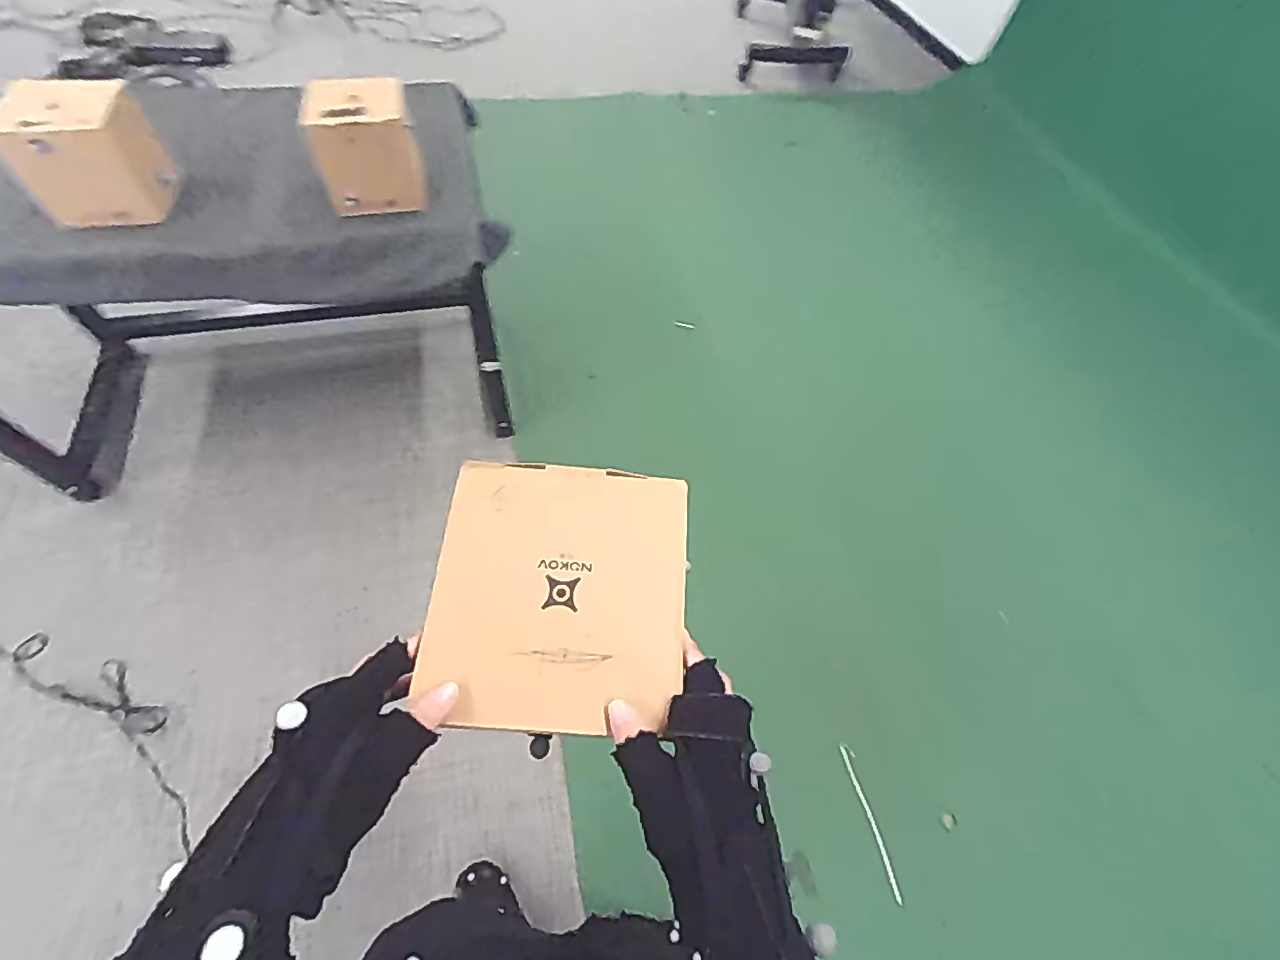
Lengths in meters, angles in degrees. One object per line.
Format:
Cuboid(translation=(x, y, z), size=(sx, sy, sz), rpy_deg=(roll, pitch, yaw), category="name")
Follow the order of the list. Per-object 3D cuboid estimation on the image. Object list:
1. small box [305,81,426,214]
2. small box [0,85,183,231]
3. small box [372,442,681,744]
Cuboid(translation=(-0.521, -0.638, 1.049), size=(0.168, 0.176, 0.179), rpy_deg=(-10, 58, -11), category="small box")
Cuboid(translation=(-0.970, -0.575, 0.968), size=(0.168, 0.176, 0.179), rpy_deg=(-10, 58, -11), category="small box")
Cuboid(translation=(-0.067, 0.095, 0.408), size=(0.168, 0.176, 0.179), rpy_deg=(6, 64, -1), category="small box")
